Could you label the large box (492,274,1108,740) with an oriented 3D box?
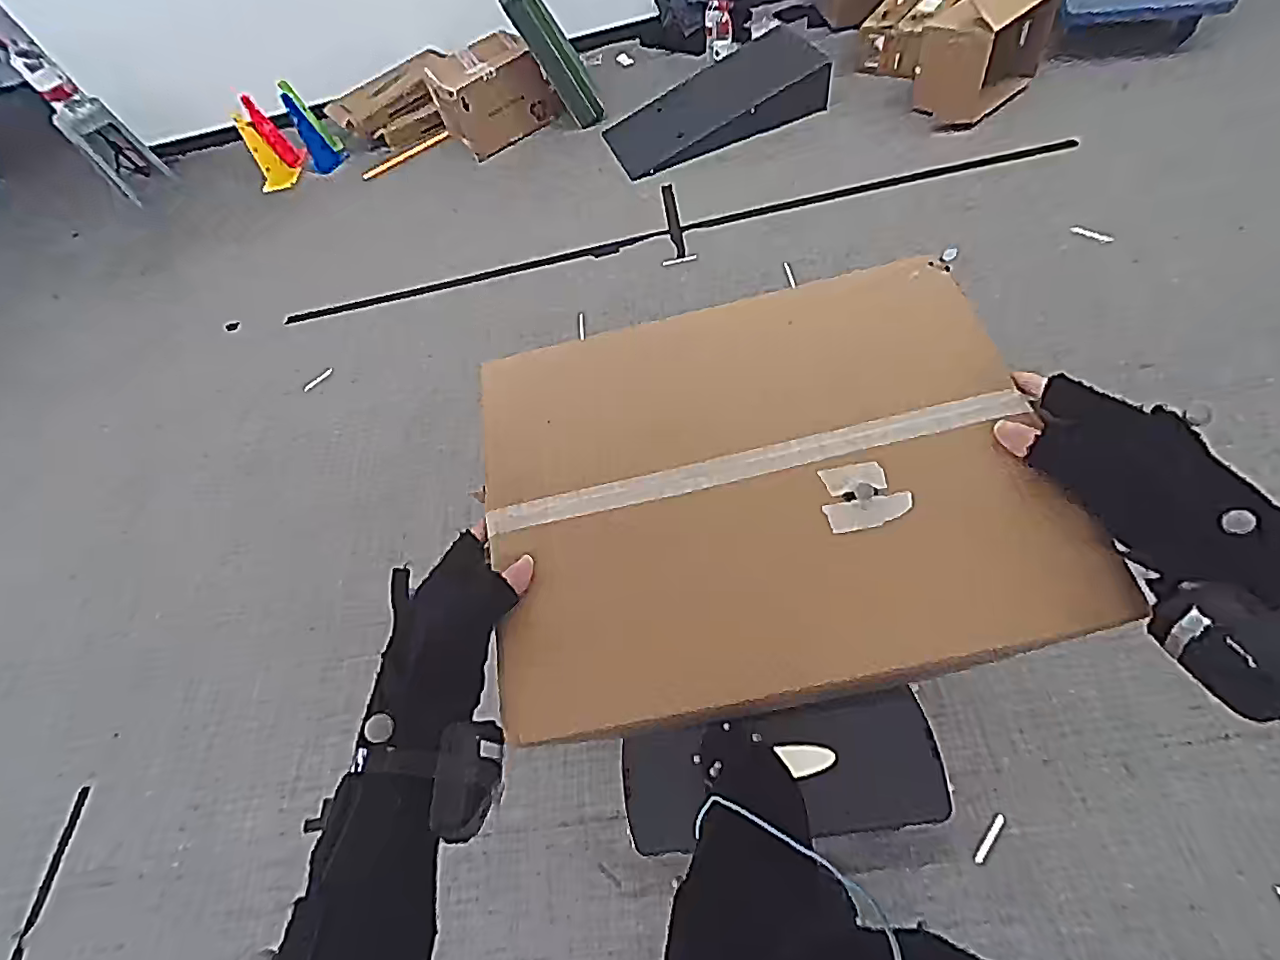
[{"bbox_3d":[0.103,0.059,0.554,0.408,0.320,0.320,-13,64,3],"label":"large box"}]
